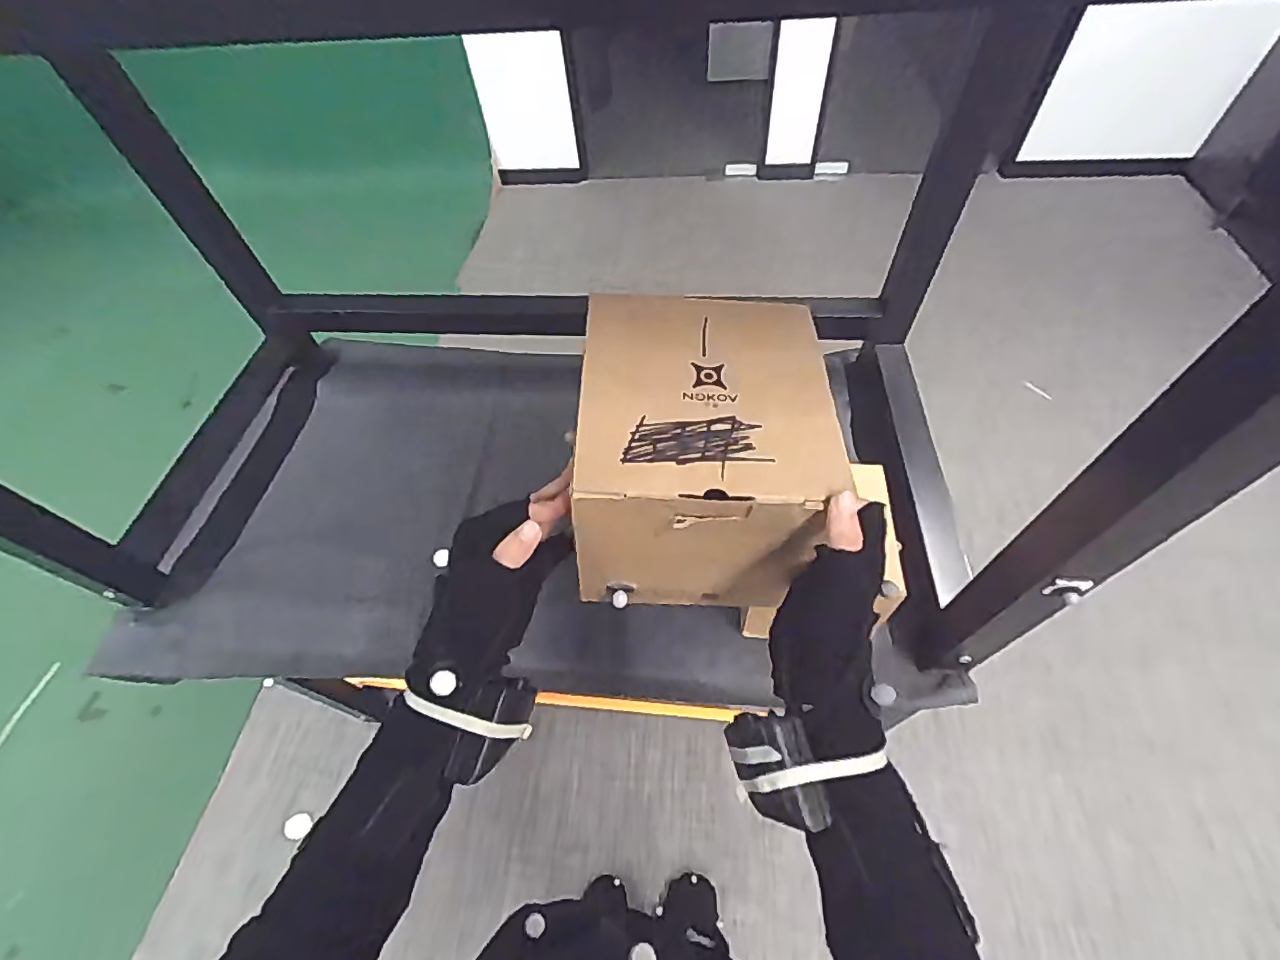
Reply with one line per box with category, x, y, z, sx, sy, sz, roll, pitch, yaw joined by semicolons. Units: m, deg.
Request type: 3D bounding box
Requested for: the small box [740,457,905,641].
small box;0.220;0.091;0.704;0.168;0.176;0.179;2;55;7
